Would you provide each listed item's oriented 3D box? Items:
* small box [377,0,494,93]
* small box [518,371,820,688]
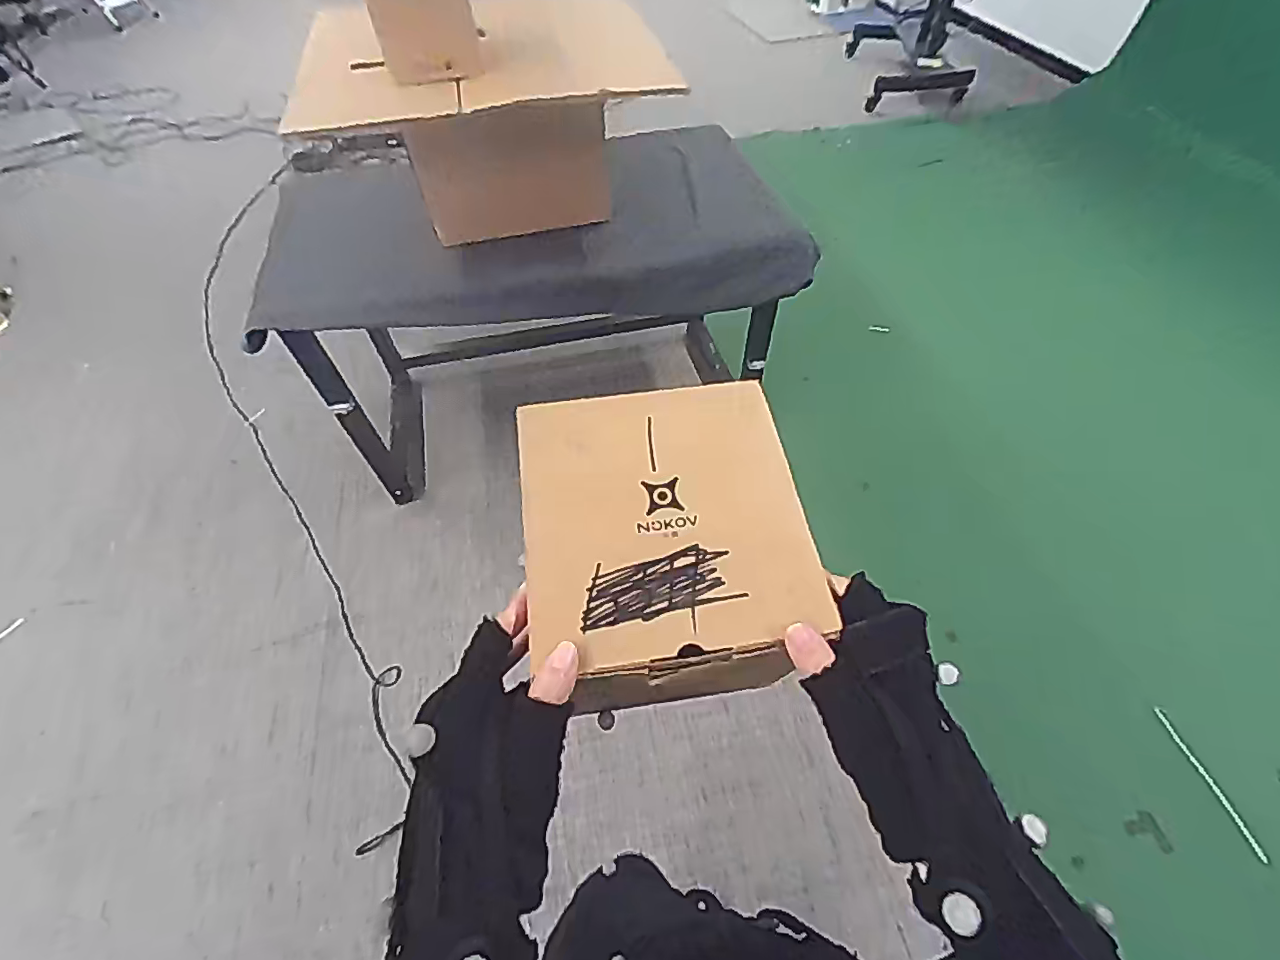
[{"bbox_3d":[-0.367,-0.828,0.975,0.168,0.176,0.179,-11,55,-6],"label":"small box"},{"bbox_3d":[0.009,0.048,0.401,0.168,0.176,0.179,-7,60,-4],"label":"small box"}]
